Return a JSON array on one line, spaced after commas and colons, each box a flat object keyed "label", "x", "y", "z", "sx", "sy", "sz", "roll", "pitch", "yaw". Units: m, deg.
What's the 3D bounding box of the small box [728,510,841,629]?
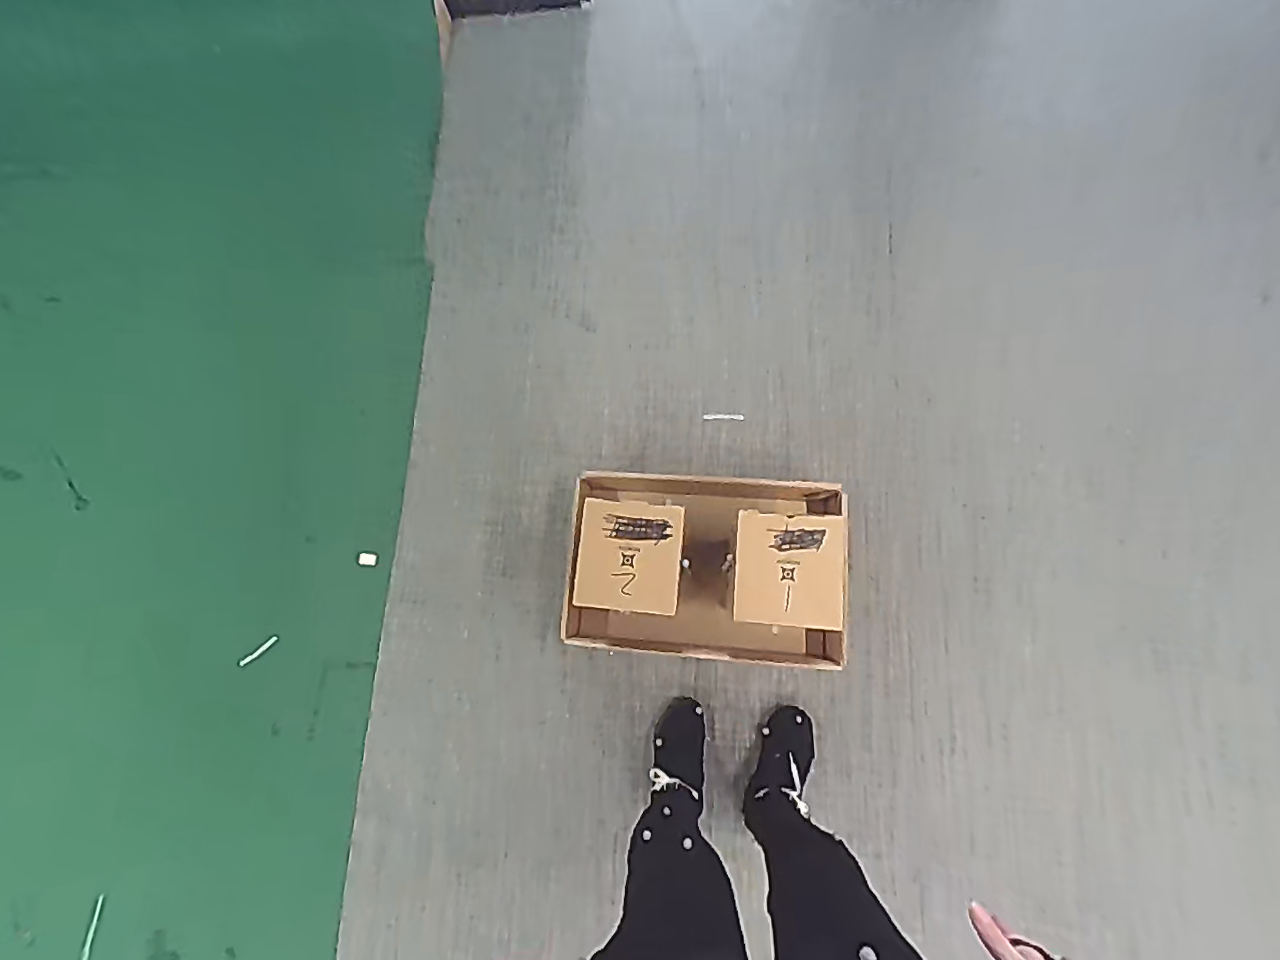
[{"label": "small box", "x": 0.241, "y": 0.154, "z": 0.930, "sx": 0.168, "sy": 0.176, "sz": 0.179, "roll": 3, "pitch": 79, "yaw": 8}]

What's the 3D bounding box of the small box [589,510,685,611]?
[{"label": "small box", "x": 0.001, "y": 0.169, "z": 1.114, "sx": 0.168, "sy": 0.176, "sz": 0.179, "roll": 7, "pitch": 78, "yaw": 7}]
